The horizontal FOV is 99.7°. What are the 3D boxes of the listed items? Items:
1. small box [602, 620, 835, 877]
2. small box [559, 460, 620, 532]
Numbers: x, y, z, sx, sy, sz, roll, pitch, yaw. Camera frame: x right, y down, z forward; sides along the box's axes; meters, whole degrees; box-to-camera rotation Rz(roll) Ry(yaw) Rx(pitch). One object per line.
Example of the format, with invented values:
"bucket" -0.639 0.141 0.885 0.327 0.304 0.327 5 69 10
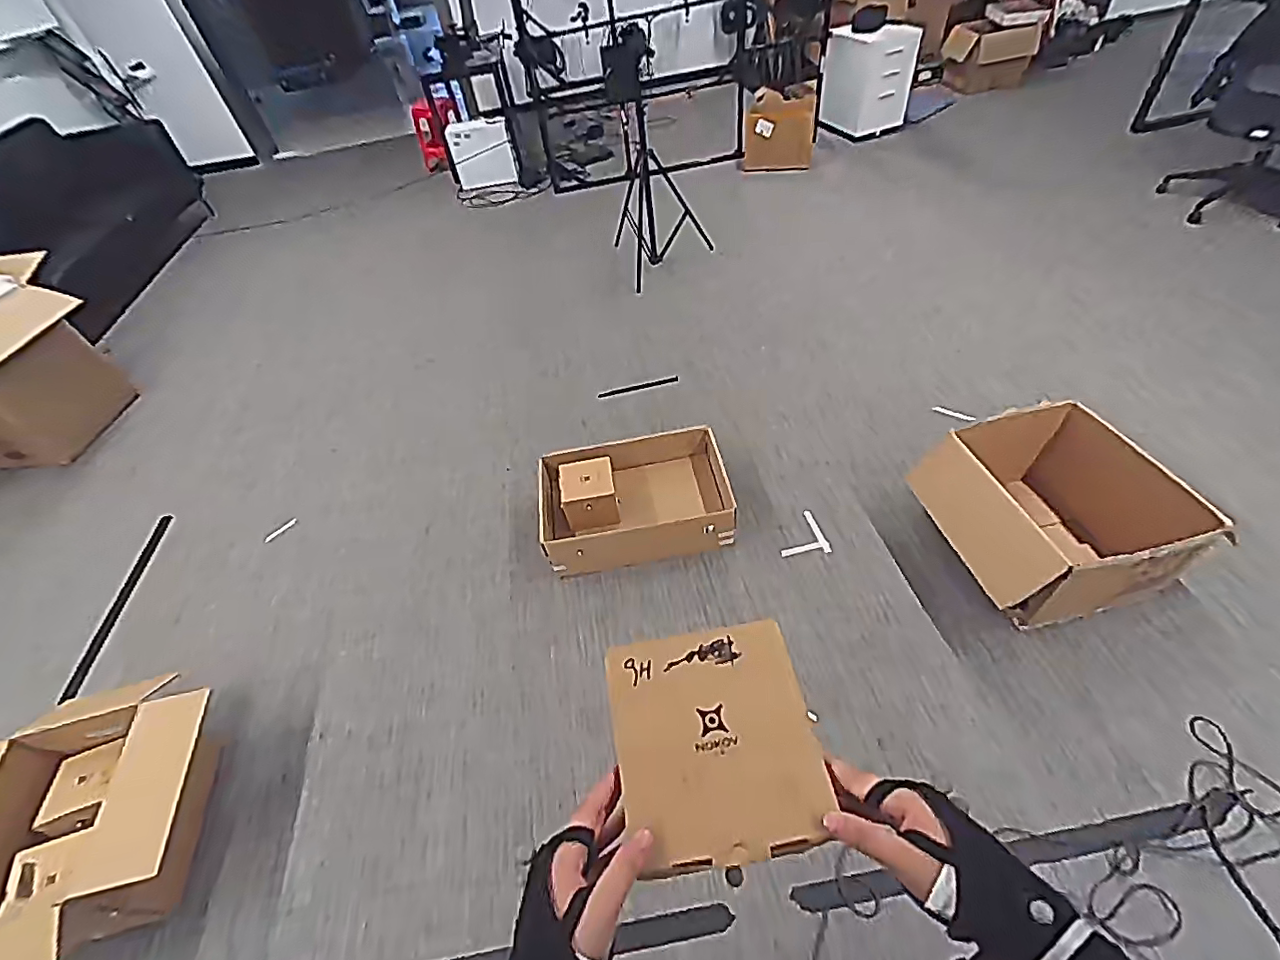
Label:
"small box" 0.062 0.258 0.516 0.168 0.176 0.179 -9 53 -3
"small box" -0.171 0.058 1.839 0.179 0.176 0.168 -10 50 -2
